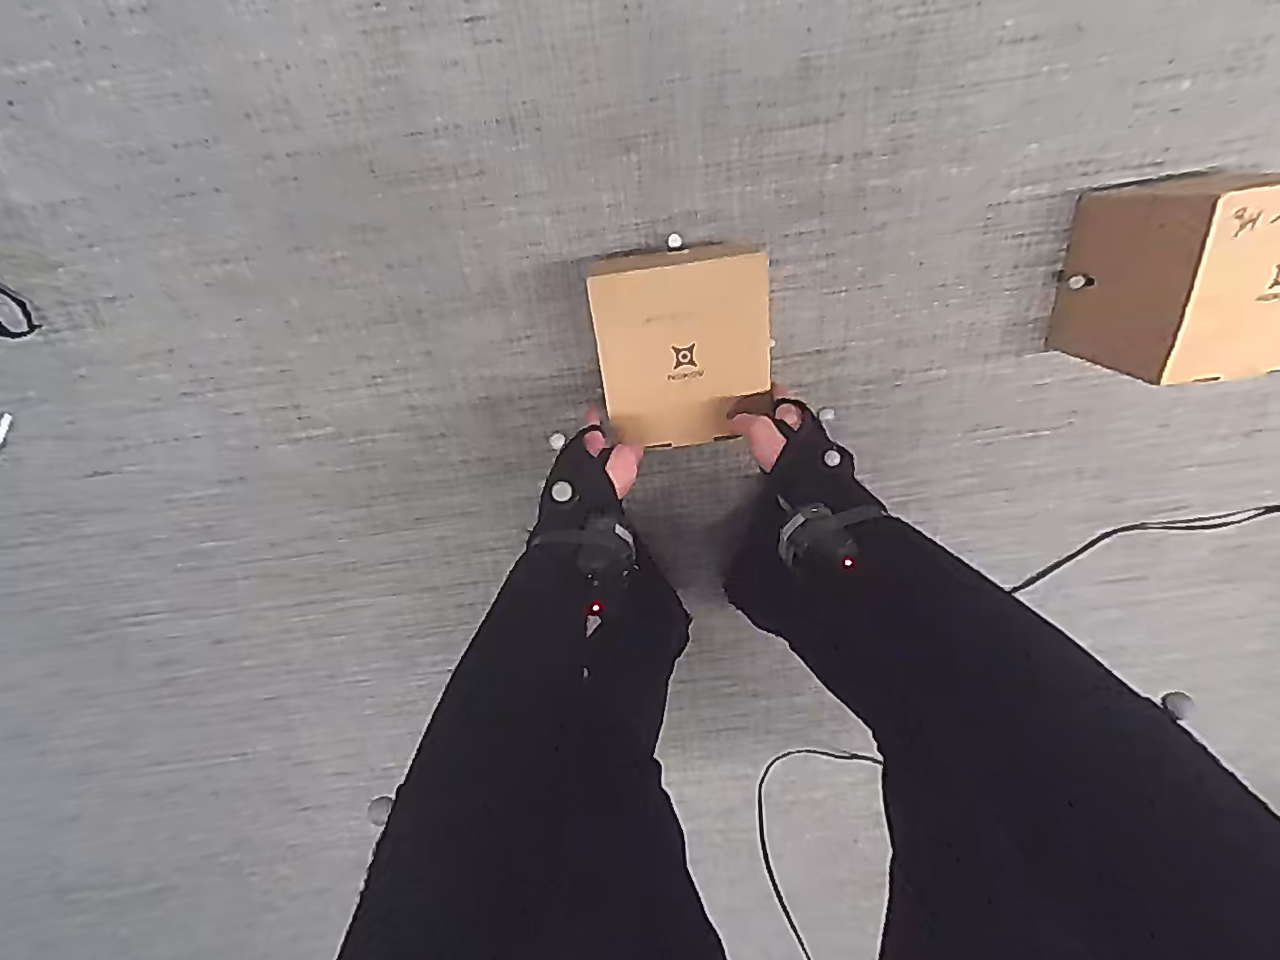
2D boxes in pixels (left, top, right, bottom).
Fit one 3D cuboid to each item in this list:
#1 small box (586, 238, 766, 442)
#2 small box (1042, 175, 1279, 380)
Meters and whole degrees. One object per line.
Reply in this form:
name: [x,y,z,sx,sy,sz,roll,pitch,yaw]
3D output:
small box: [0.039,-0.162,0.599,0.168,0.176,0.179,-8,116,1]
small box: [0.581,-0.223,0.583,0.168,0.176,0.179,-6,118,2]
